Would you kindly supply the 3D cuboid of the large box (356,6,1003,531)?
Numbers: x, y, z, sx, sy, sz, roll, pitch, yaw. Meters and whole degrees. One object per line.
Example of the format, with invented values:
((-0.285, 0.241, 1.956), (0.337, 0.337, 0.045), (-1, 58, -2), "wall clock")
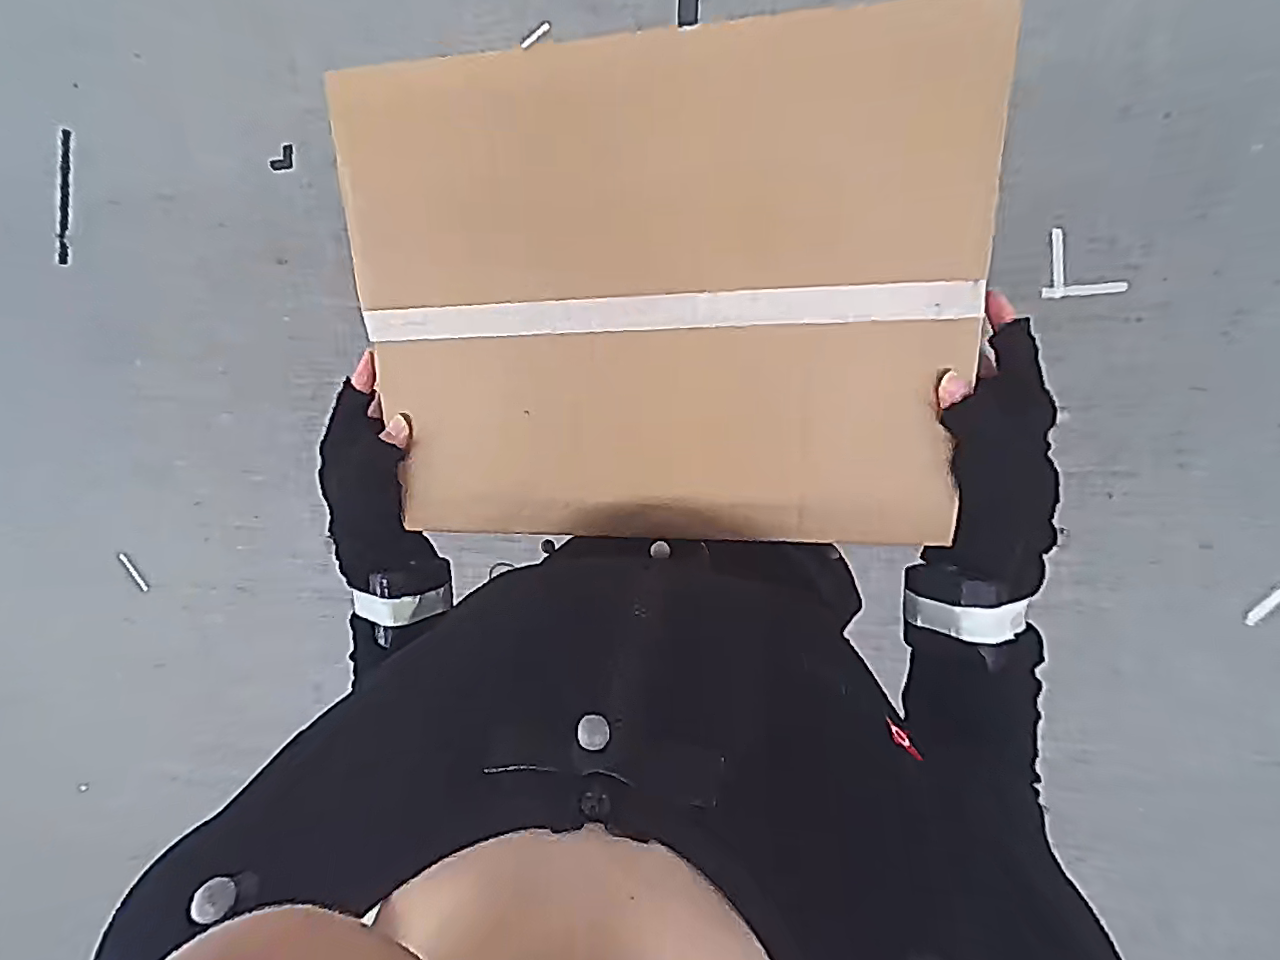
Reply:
((0.032, -0.151, 0.508), (0.408, 0.320, 0.320), (1, 107, 9), "large box")
